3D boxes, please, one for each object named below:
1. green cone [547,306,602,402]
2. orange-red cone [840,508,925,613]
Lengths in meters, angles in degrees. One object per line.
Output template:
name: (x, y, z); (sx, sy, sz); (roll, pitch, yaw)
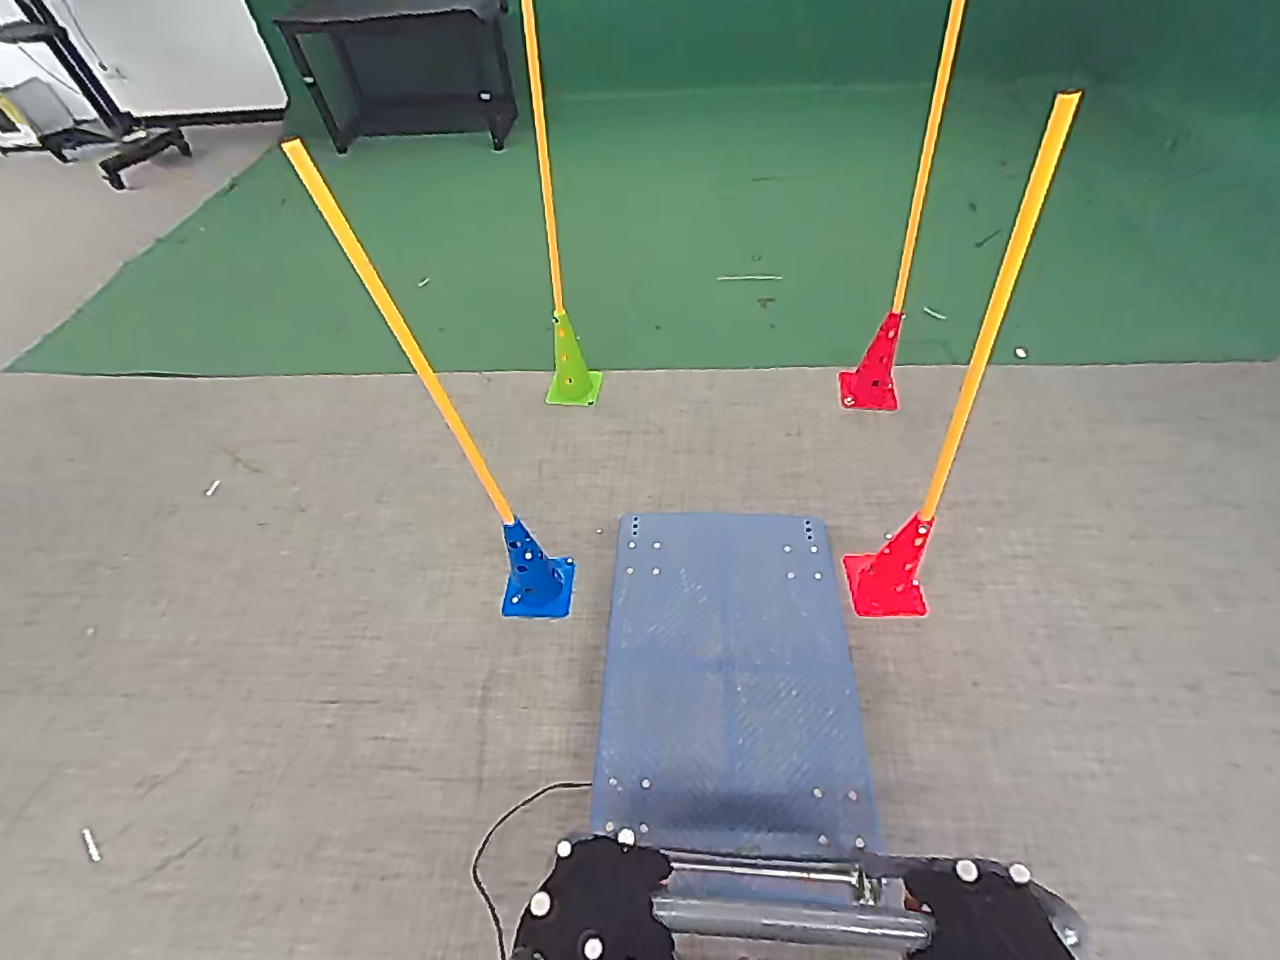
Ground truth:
green cone: (-0.274, -0.492, 2.040); (0.202, 0.368, 0.200); (3, 52, 8)
orange-red cone: (0.686, 0.192, 1.448); (0.199, 0.360, 0.198); (-1, 51, 5)
